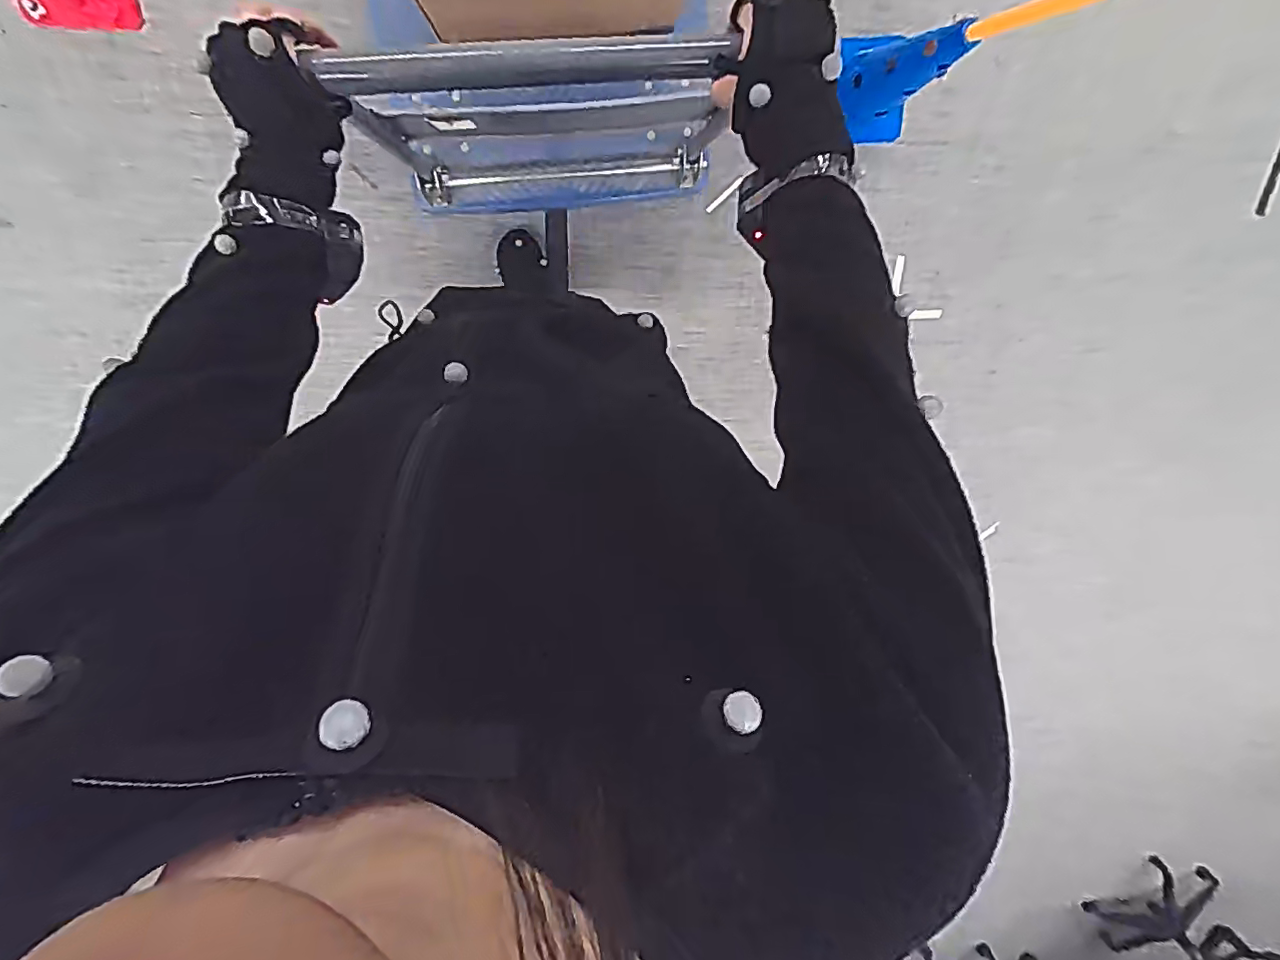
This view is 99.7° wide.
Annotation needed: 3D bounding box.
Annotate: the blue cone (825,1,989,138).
[{"bbox_3d":[0.523,-0.808,1.045,0.193,0.380,0.192,-5,112,-6],"label":"blue cone"}]
